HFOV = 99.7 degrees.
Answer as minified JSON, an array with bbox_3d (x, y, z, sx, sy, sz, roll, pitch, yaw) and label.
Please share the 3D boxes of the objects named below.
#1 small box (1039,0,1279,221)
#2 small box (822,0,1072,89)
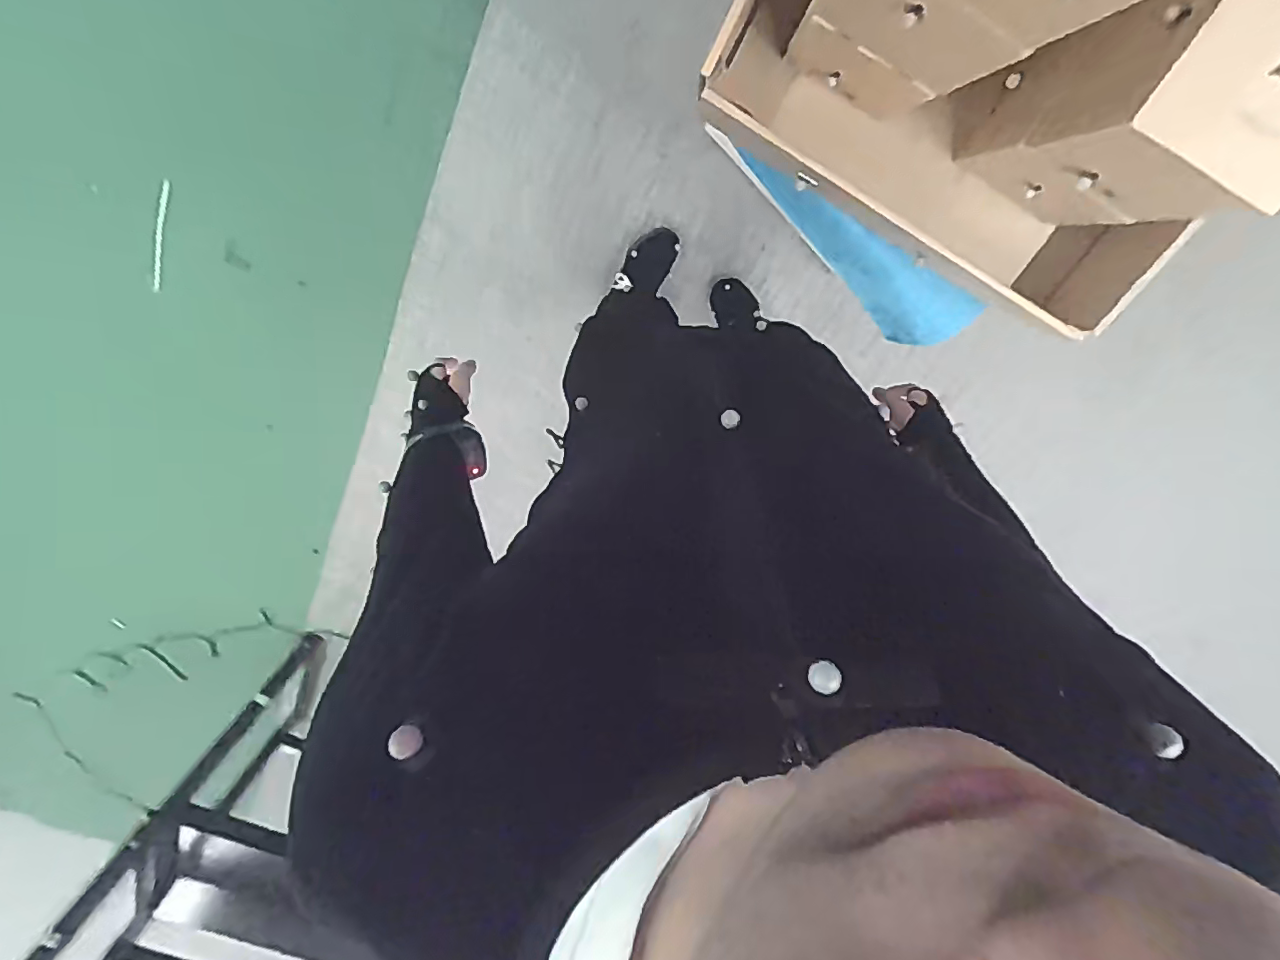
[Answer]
[{"bbox_3d":[0.539,-0.369,0.509,0.168,0.176,0.179,27,114,-7],"label":"small box"},{"bbox_3d":[0.289,-0.483,0.473,0.179,0.176,0.168,26,114,-9],"label":"small box"}]
